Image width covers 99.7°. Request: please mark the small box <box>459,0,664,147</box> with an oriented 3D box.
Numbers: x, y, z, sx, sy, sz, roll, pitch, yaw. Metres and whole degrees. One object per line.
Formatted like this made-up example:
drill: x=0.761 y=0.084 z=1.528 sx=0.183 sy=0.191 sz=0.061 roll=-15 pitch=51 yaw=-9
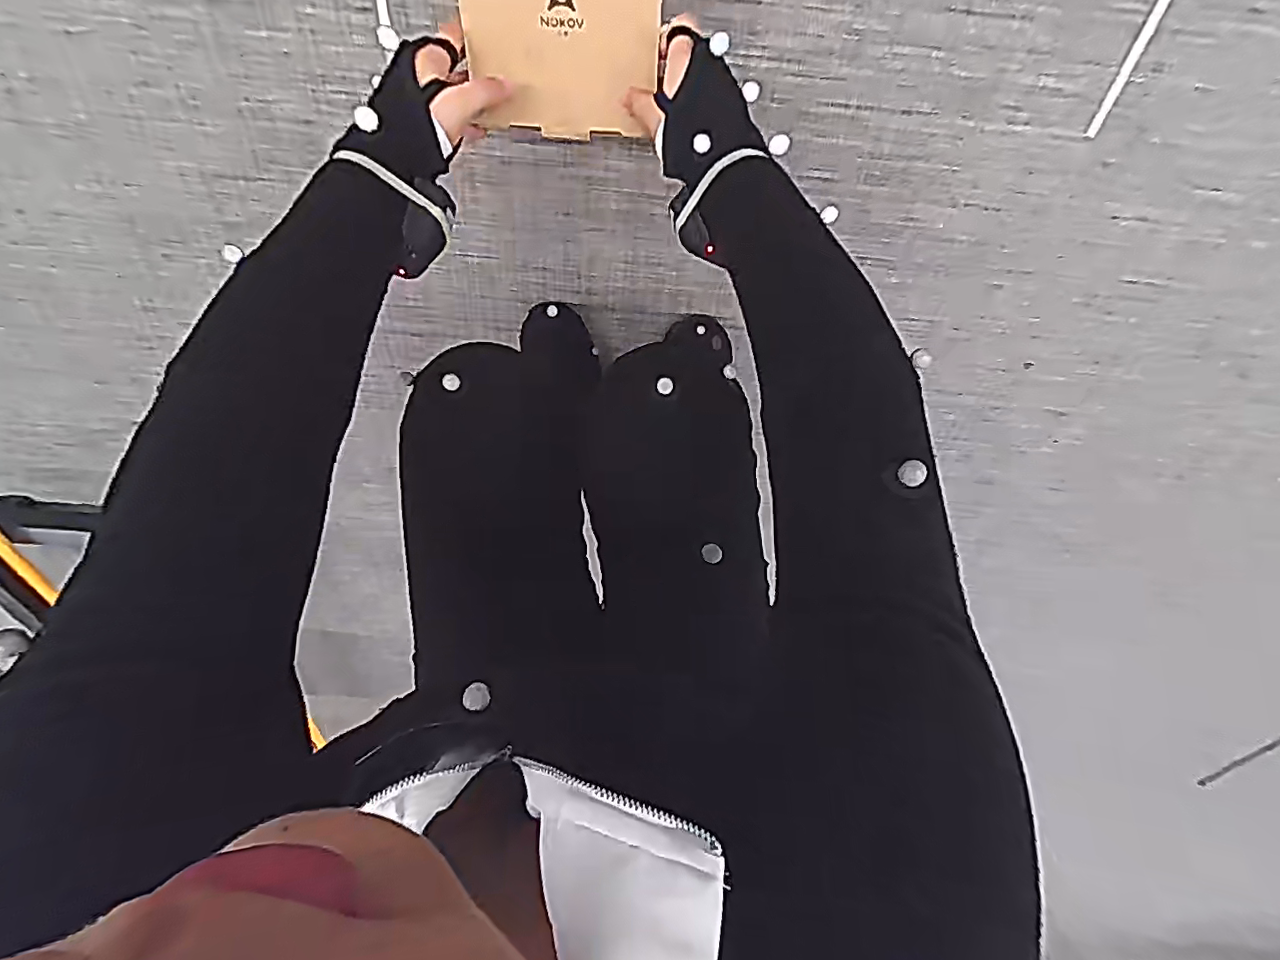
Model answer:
small box: x=-0.062 y=-0.434 z=0.501 sx=0.168 sy=0.176 sz=0.179 roll=4 pitch=133 yaw=-1
